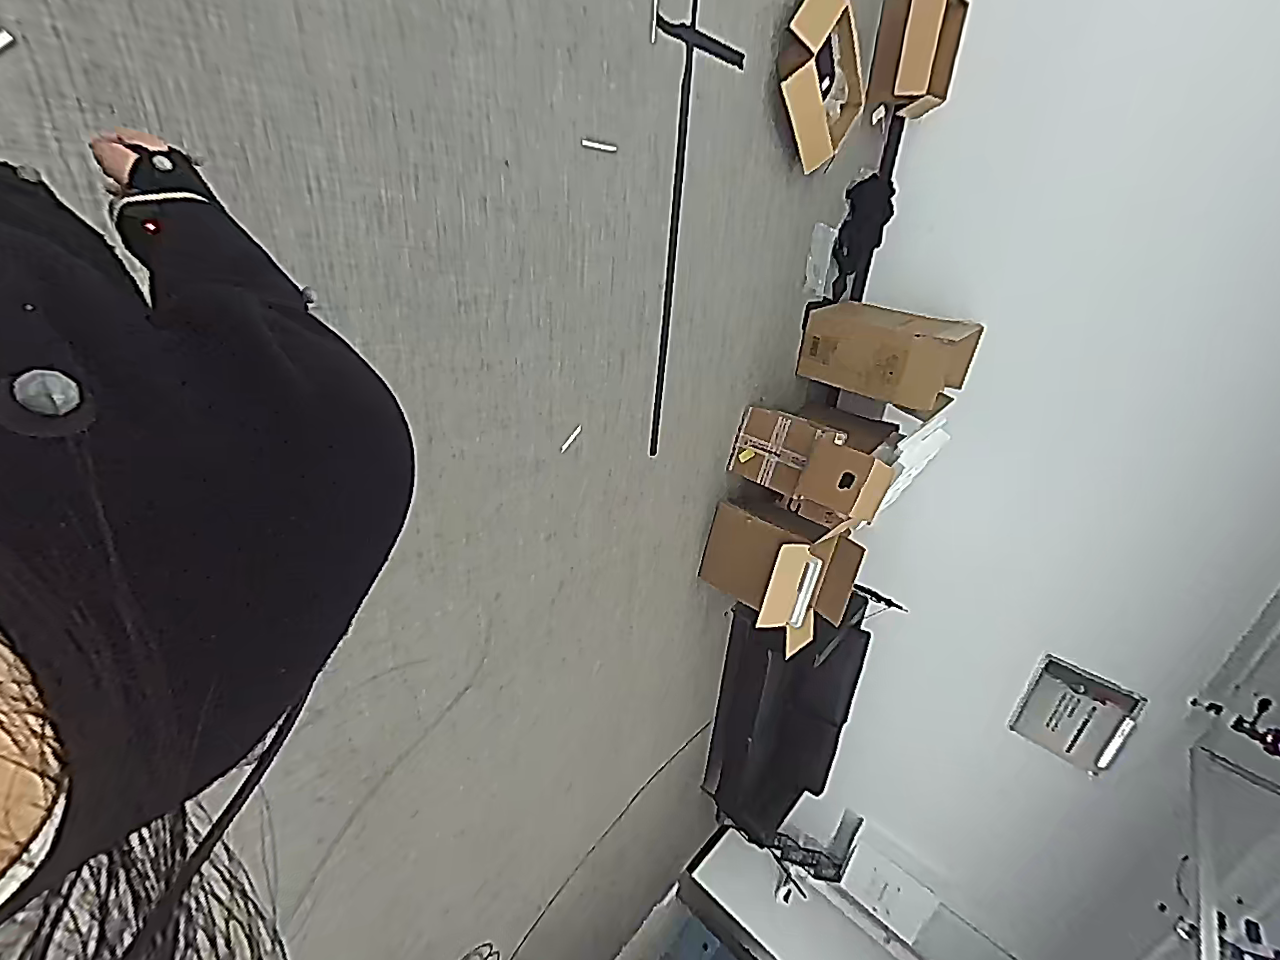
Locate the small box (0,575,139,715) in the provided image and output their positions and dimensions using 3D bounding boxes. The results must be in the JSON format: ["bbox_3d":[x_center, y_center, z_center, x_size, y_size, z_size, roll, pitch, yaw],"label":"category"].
[{"bbox_3d":[-1.174,0.326,1.097,0.168,0.176,0.179,-33,133,-38],"label":"small box"}]
